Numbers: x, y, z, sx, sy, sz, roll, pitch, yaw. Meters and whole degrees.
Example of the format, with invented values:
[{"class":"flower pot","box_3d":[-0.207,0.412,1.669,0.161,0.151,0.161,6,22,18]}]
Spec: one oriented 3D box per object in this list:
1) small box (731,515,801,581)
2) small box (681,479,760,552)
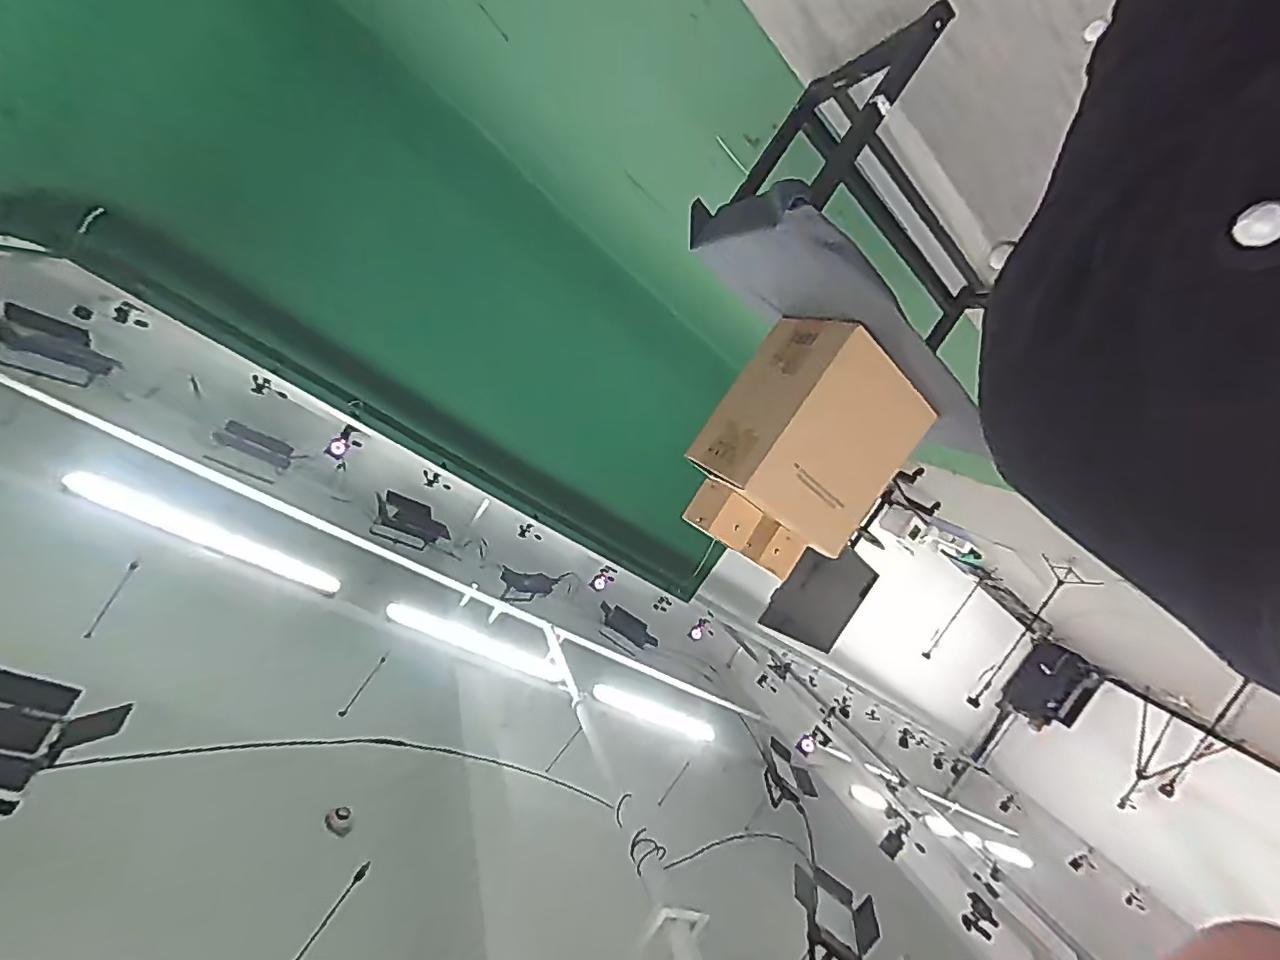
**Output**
[{"class":"small box","box_3d":[0.473,0.245,2.020,0.168,0.176,0.179,36,178,-29]},{"class":"small box","box_3d":[0.286,0.121,1.896,0.179,0.176,0.168,33,178,-30]}]
